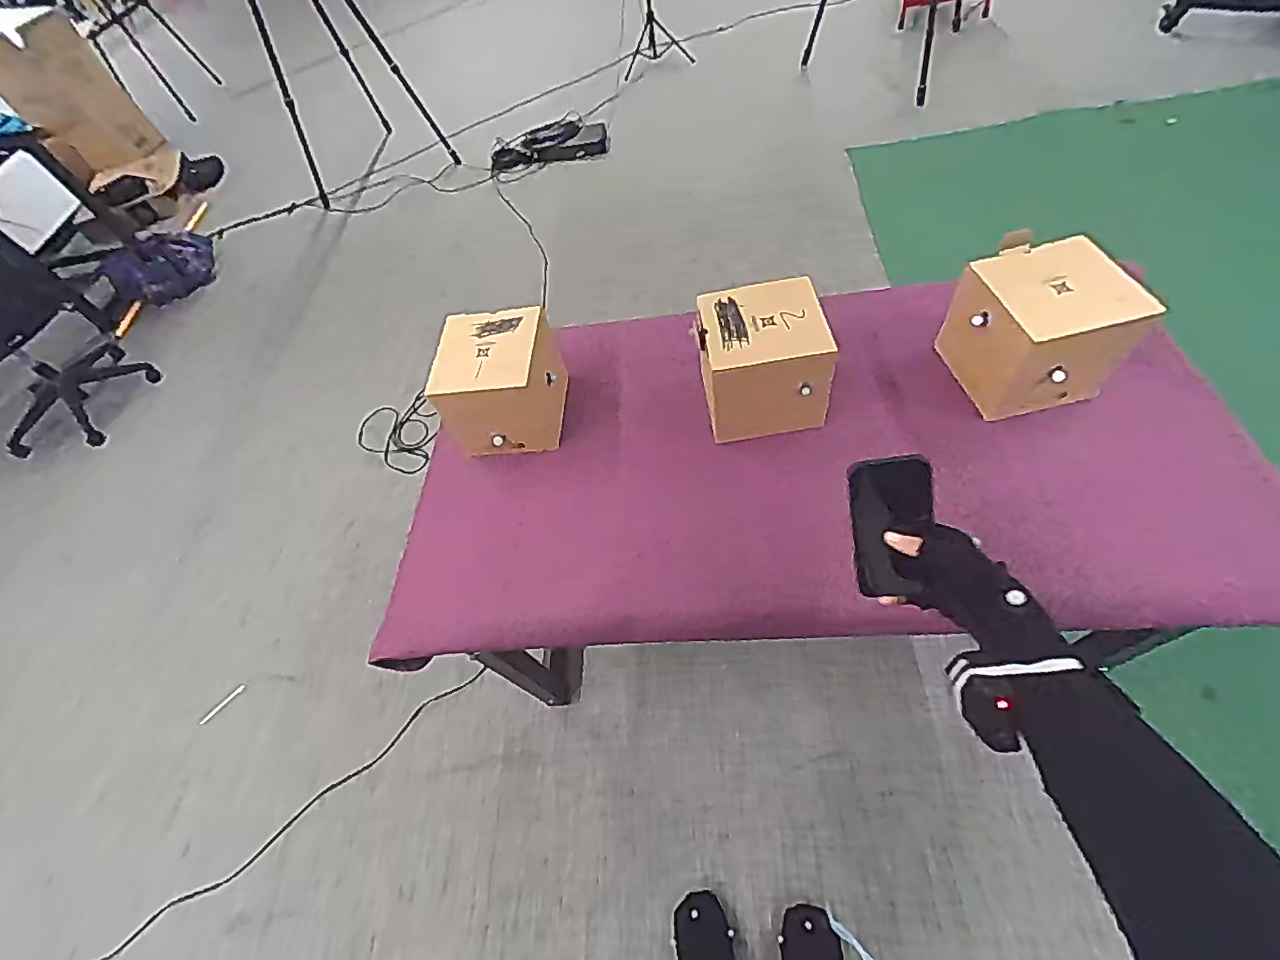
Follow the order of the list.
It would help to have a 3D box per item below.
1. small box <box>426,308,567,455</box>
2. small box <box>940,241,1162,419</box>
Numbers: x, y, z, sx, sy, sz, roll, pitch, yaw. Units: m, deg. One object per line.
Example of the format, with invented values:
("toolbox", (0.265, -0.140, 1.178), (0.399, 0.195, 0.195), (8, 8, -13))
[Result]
("small box", (-0.227, -0.161, 0.912), (0.168, 0.176, 0.179), (-3, 58, 9))
("small box", (0.577, -0.208, 0.791), (0.168, 0.176, 0.179), (-13, 55, 3))
